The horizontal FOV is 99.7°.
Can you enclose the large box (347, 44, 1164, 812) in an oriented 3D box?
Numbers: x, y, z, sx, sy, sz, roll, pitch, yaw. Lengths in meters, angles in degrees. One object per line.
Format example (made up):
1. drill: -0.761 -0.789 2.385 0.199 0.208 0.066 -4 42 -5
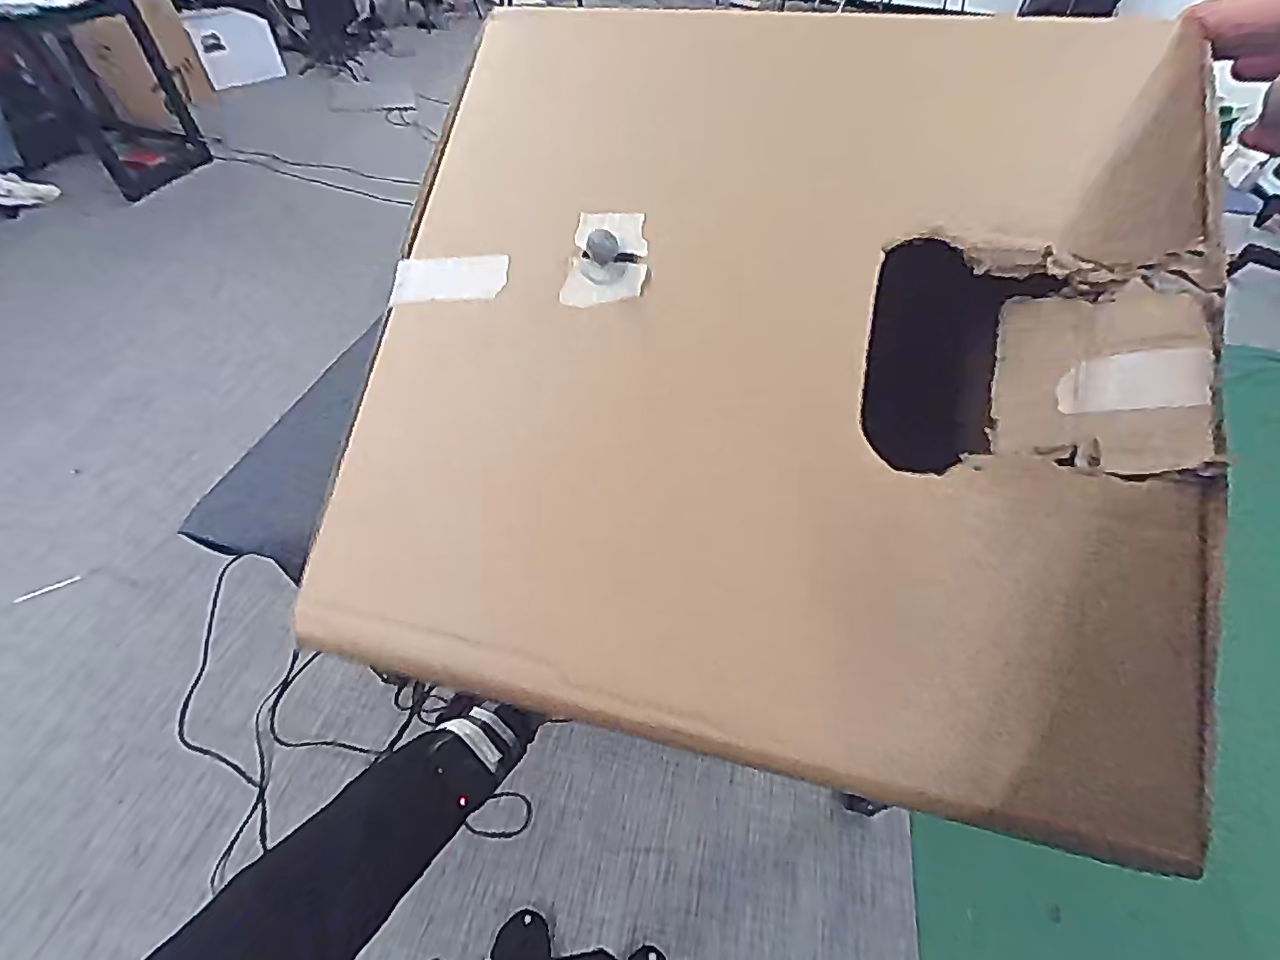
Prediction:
1. large box: 0.066 -0.018 0.415 0.320 0.408 0.320 10 79 8
